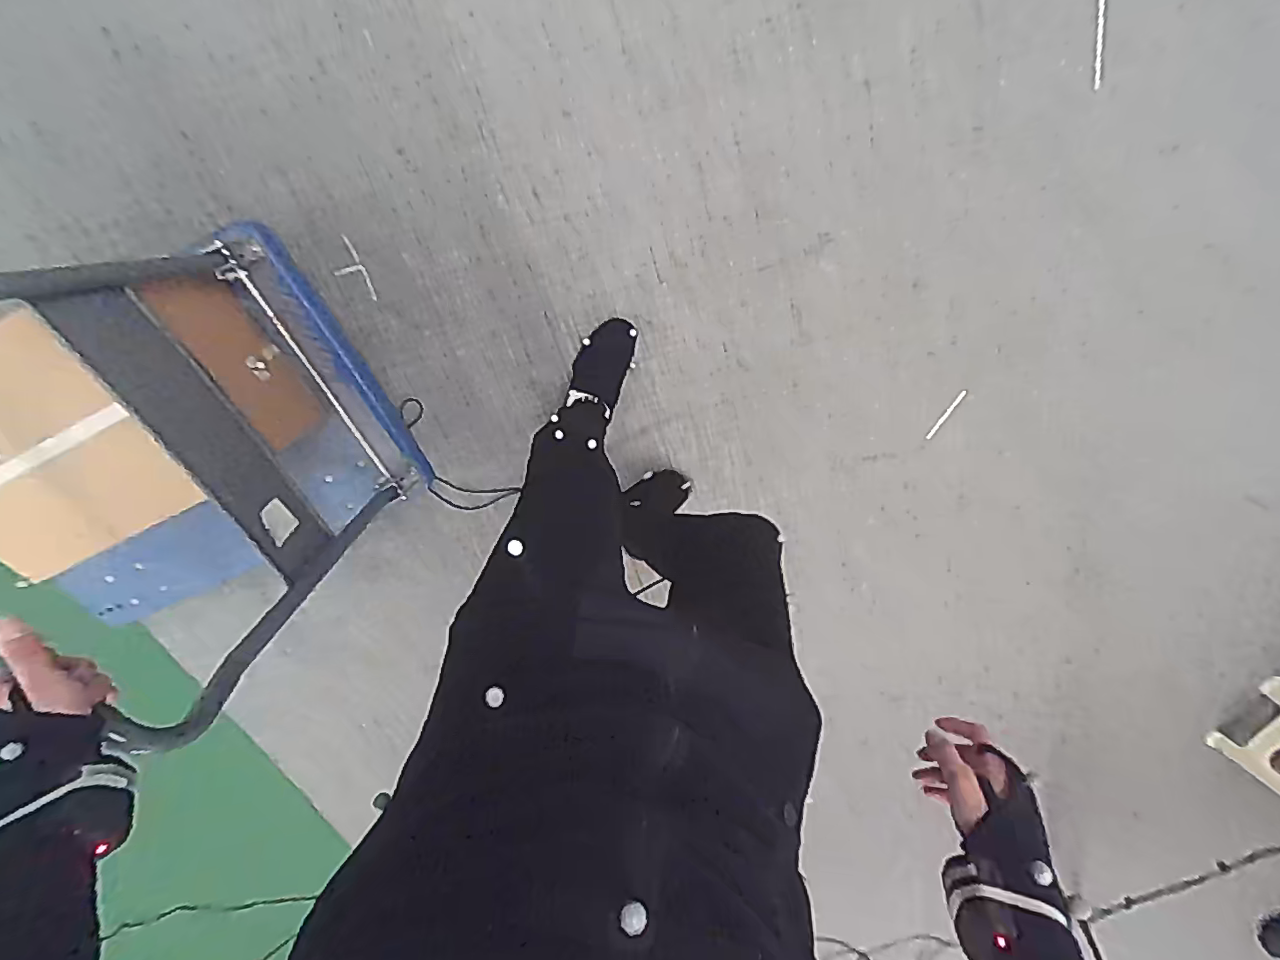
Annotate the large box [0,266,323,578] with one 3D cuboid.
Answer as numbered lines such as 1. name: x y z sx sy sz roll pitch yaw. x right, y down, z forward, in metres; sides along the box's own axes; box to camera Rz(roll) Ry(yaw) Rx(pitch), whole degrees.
1. large box: -0.852 -0.110 0.903 0.408 0.320 0.320 -24 115 8
